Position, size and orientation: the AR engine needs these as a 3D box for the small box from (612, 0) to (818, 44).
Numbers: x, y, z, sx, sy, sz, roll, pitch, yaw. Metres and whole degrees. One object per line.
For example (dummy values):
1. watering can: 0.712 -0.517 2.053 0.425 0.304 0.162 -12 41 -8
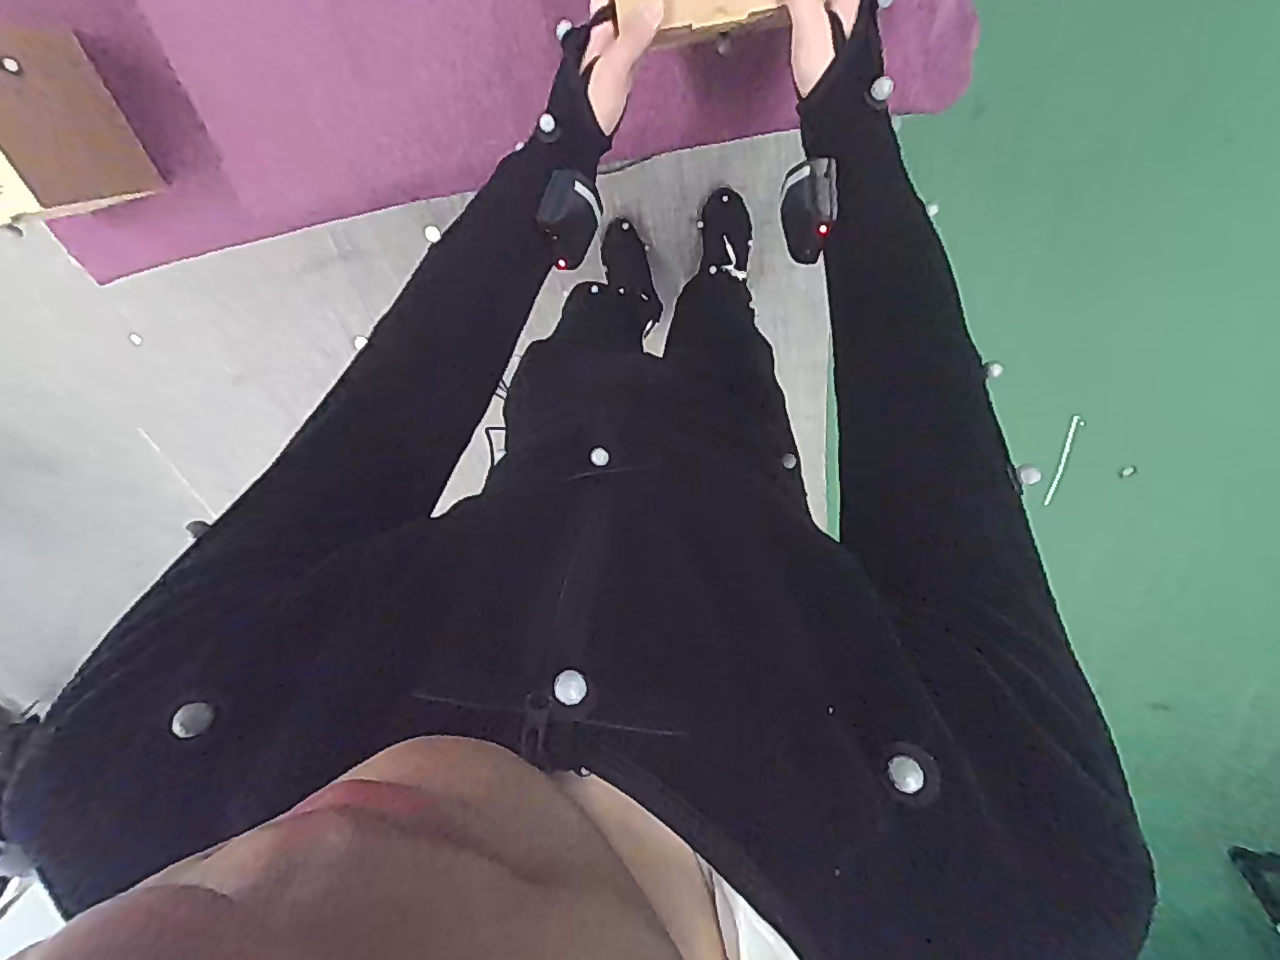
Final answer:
1. small box: 0.062 -0.484 0.443 0.168 0.176 0.179 0 127 14
